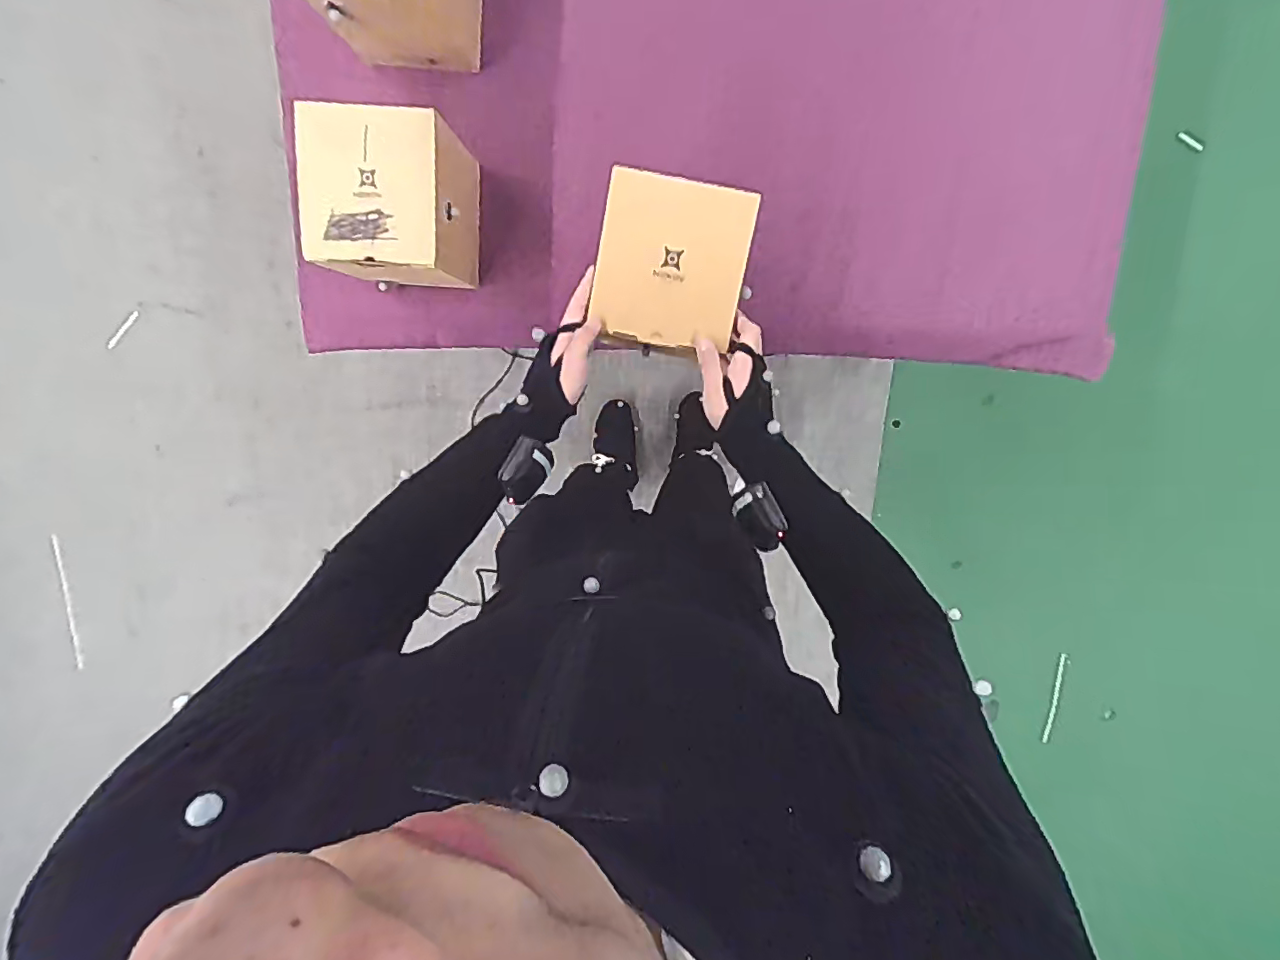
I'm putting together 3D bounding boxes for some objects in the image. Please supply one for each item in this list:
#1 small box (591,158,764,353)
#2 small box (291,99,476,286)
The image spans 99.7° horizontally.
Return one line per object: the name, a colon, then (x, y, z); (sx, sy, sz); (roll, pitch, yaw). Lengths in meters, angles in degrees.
small box: (0.039, -0.261, 0.673); (0.168, 0.176, 0.179); (10, 102, -2)
small box: (-0.321, -0.360, 0.710); (0.168, 0.176, 0.179); (4, 101, 0)
